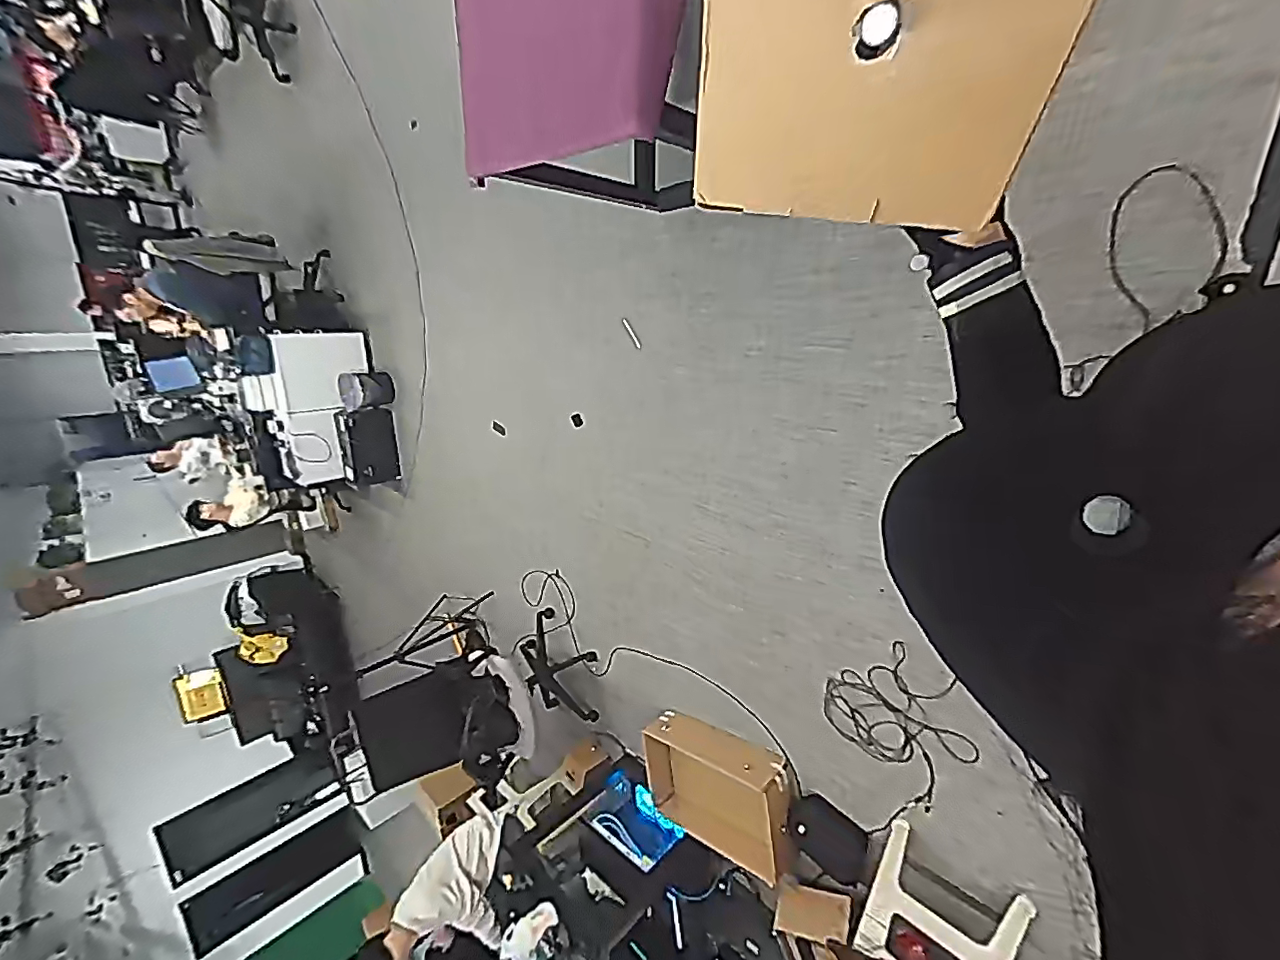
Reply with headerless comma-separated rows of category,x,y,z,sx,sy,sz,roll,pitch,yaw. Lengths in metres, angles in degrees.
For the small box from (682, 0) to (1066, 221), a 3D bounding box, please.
small box,0.120,-0.266,0.292,0.168,0.179,0.176,12,141,13
